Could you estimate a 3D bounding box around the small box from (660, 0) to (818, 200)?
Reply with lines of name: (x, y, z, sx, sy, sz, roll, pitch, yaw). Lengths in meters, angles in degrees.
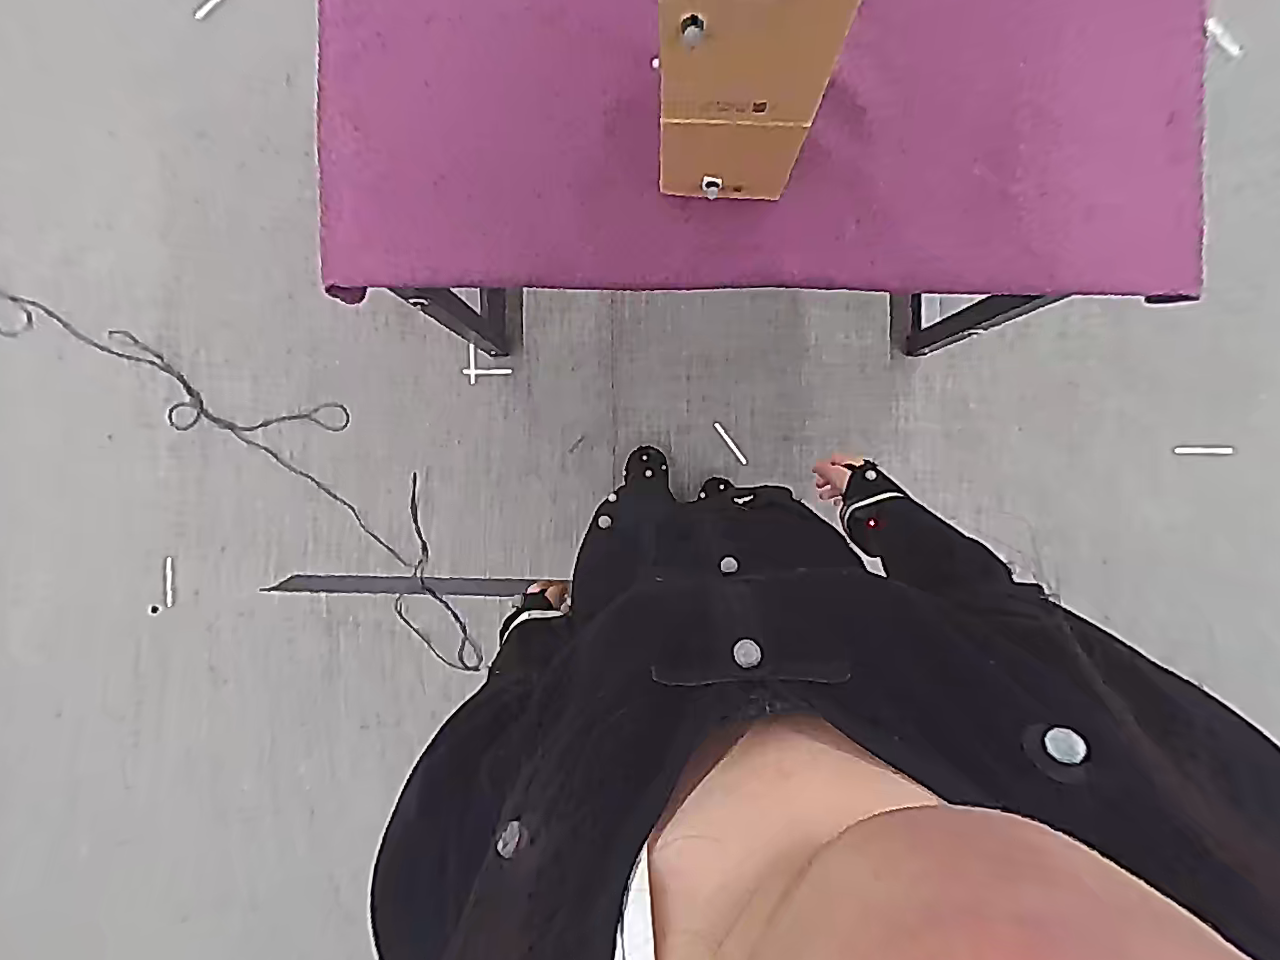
small box: (0.111, -0.478, 0.668, 0.168, 0.176, 0.179, 3, 92, 2)
